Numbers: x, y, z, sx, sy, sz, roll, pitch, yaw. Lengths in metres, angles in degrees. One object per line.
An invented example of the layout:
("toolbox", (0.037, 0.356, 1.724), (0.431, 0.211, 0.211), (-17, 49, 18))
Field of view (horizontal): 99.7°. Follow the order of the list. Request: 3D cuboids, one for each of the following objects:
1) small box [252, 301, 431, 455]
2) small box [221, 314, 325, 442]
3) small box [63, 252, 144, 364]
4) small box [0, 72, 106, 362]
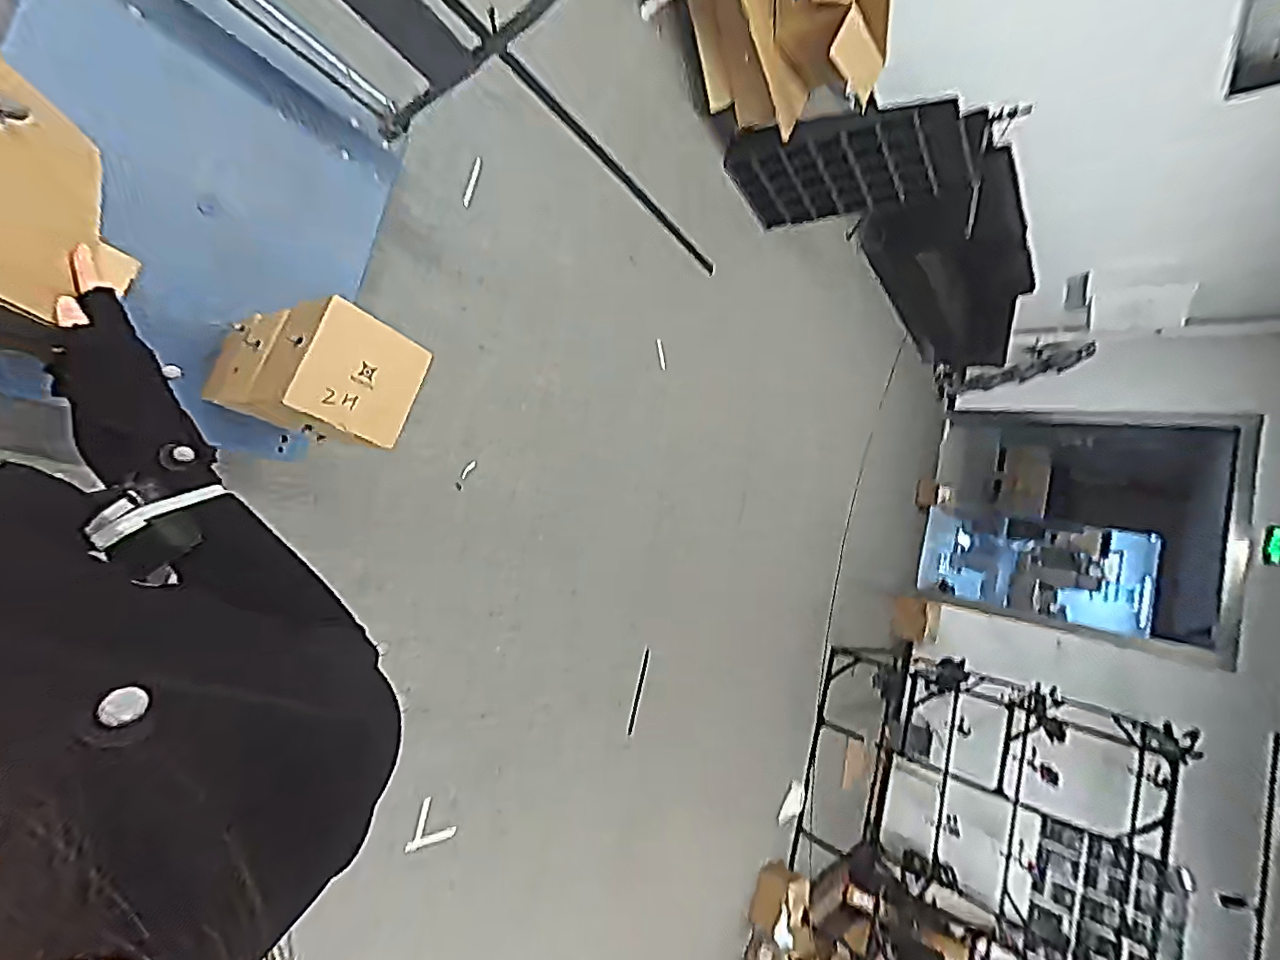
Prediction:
("small box", (-0.475, -0.156, 0.859), (0.168, 0.176, 0.179), (33, 71, -47))
("small box", (-0.601, -0.169, 0.964), (0.179, 0.176, 0.168), (31, 72, -49))
("small box", (-0.916, -0.291, 0.826), (0.179, 0.176, 0.168), (28, 74, -47))
("small box", (-0.483, -0.180, 0.325), (0.168, 0.179, 0.176), (-5, 82, -10))
